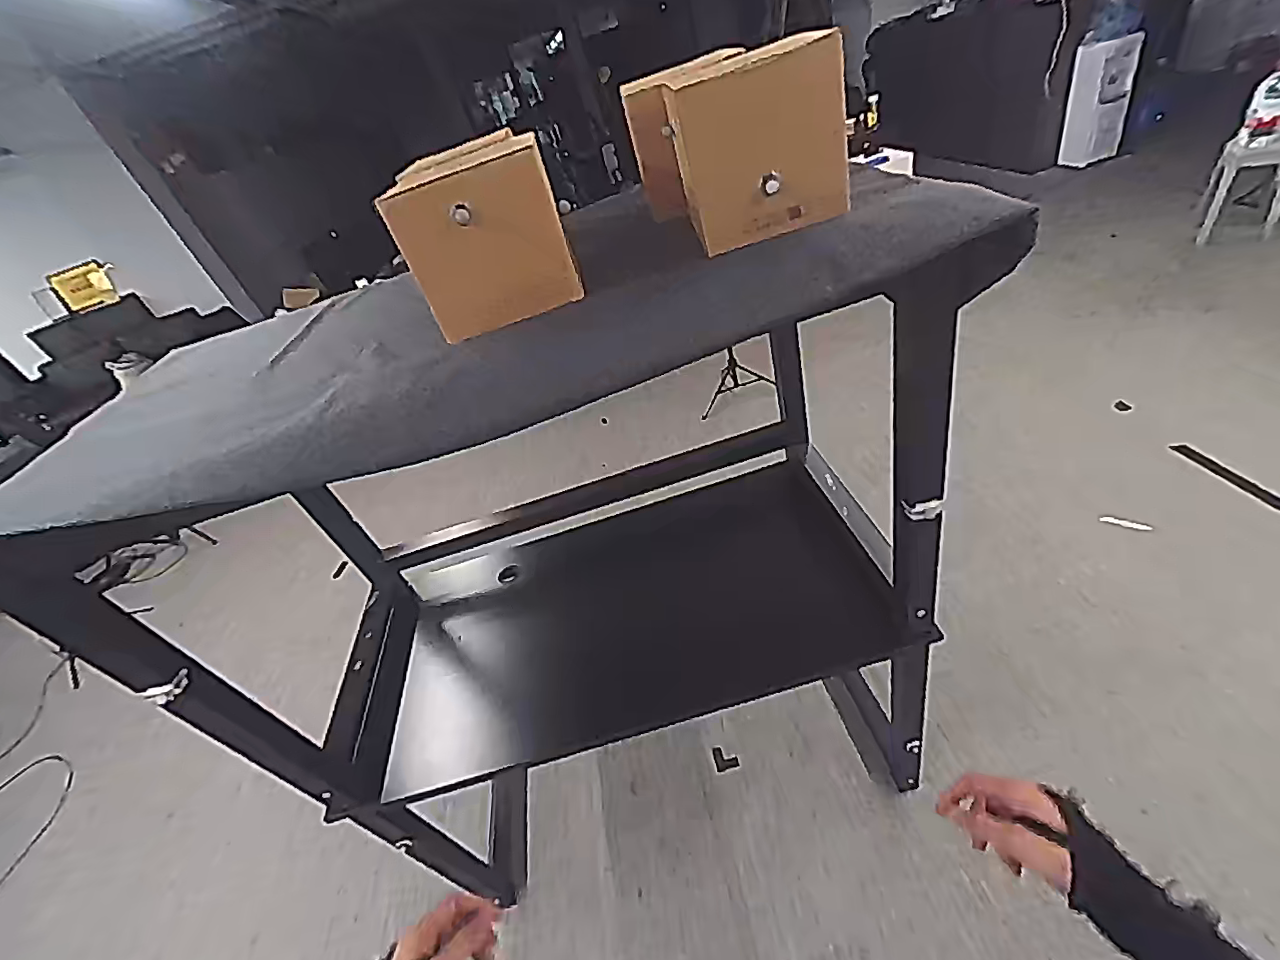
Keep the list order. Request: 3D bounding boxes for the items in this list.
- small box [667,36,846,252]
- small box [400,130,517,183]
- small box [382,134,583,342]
[{"bbox_3d":[0.134,-0.392,0.641,0.168,0.176,0.179,-14,38,9],"label":"small box"},{"bbox_3d":[-0.249,-0.434,0.865,0.168,0.176,0.179,-19,38,3],"label":"small box"},{"bbox_3d":[-0.176,-0.296,0.665,0.179,0.176,0.168,-18,37,3],"label":"small box"}]
